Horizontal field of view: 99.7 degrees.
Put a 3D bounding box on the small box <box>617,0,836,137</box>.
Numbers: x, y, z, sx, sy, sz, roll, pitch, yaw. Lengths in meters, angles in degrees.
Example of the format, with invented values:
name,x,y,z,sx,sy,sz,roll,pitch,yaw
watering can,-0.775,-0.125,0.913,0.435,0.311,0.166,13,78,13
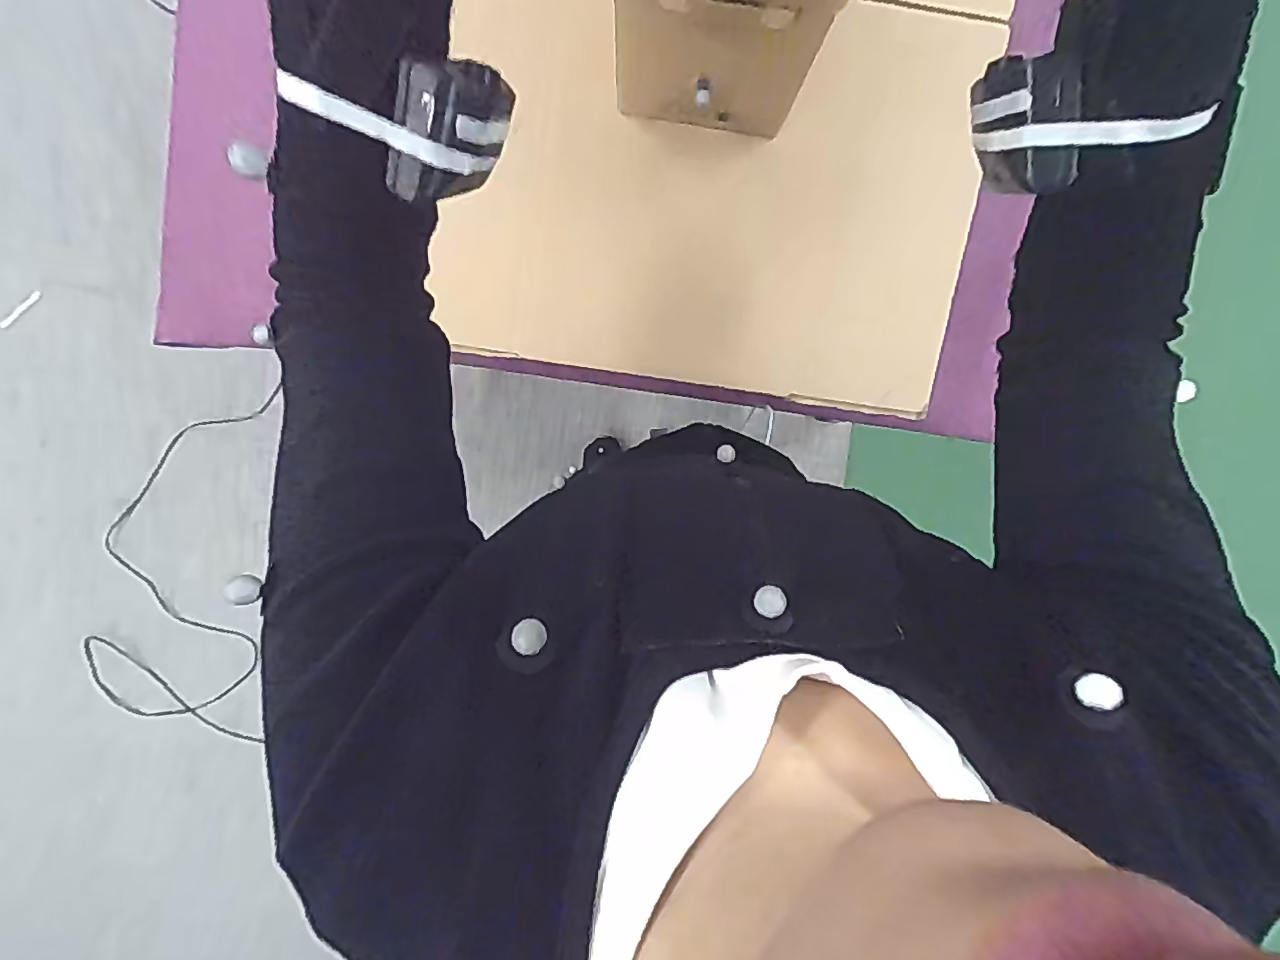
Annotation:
name,x,y,z,sx,sy,sz,roll,pitch,yaw
small box,0.072,-0.439,0.461,0.168,0.176,0.179,9,93,-1
